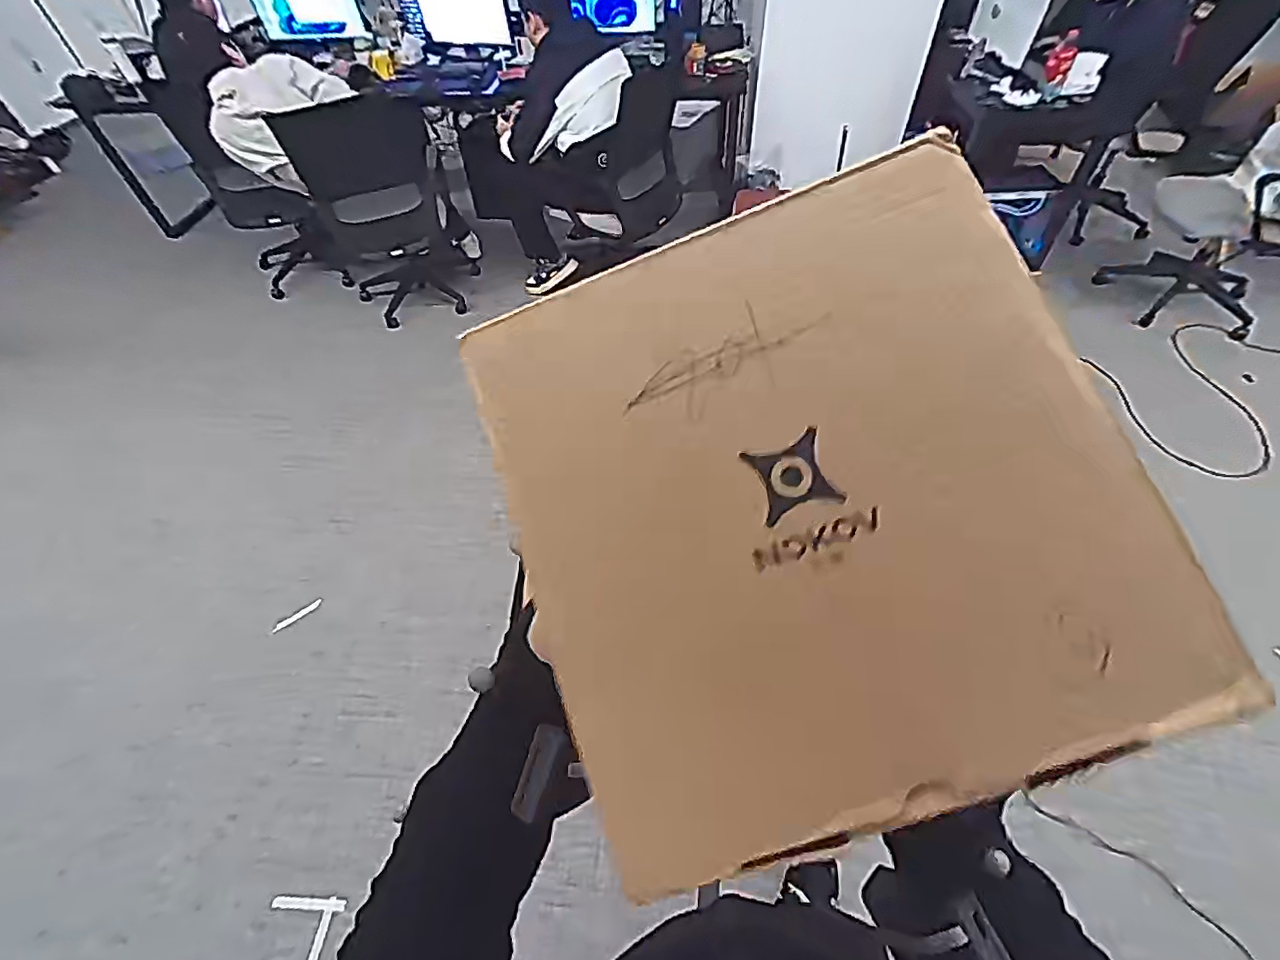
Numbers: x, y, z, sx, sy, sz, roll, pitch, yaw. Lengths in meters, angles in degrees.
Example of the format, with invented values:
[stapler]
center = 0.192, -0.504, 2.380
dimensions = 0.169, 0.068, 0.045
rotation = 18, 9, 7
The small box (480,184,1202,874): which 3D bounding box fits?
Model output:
[small box]
center = 0.058, 0.022, 0.245
dimensions = 0.168, 0.176, 0.179
rotation = -22, 75, 3
